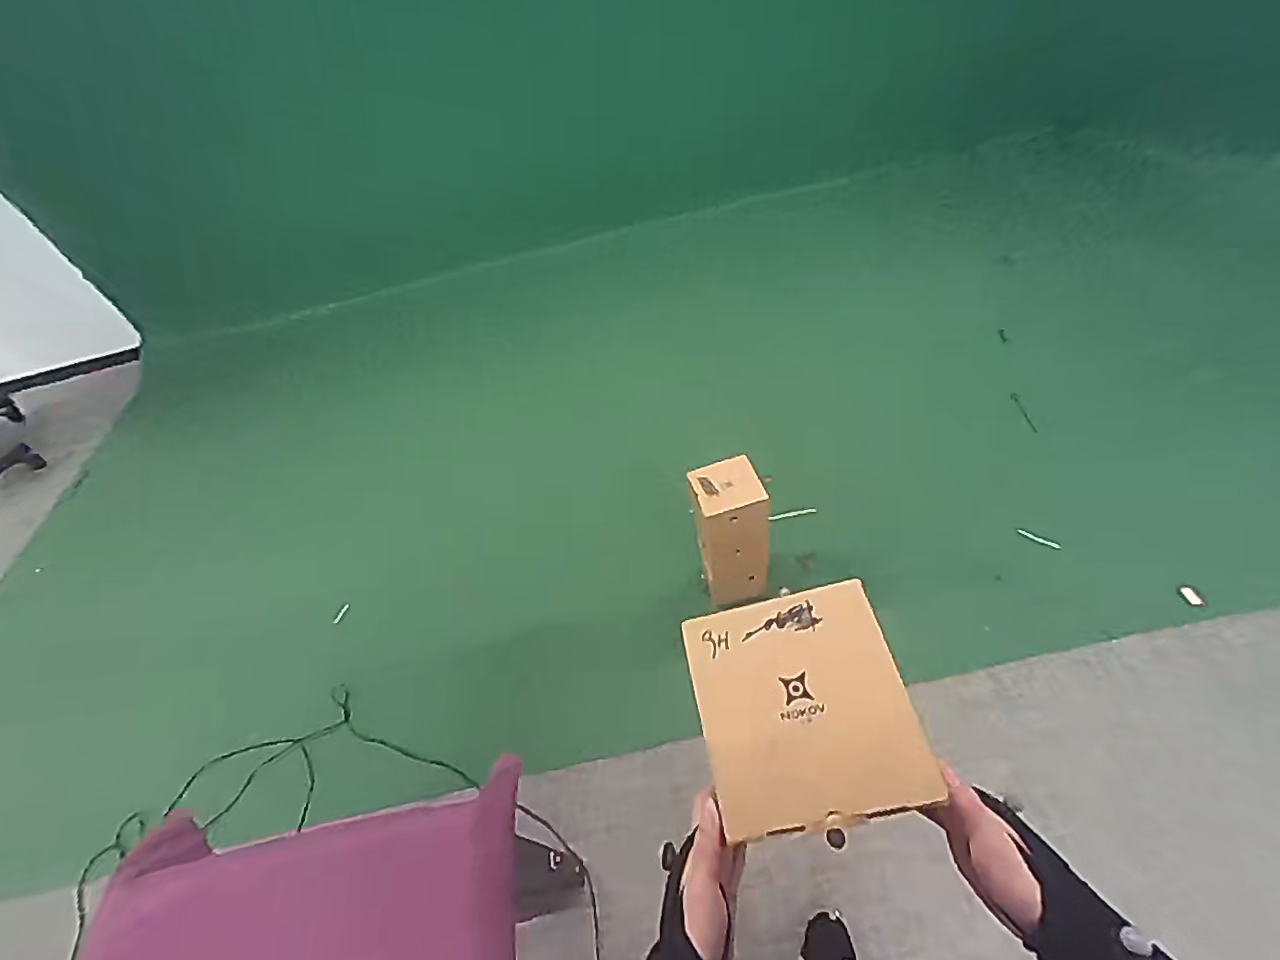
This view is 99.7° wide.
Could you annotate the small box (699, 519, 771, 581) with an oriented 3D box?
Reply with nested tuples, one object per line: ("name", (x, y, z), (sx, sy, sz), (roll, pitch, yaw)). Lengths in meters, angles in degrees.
("small box", (0.284, 0.176, 1.623), (0.179, 0.176, 0.168), (-17, 49, 1))

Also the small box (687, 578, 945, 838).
("small box", (0.153, 0.217, 0.507), (0.168, 0.176, 0.179), (-15, 56, 8))

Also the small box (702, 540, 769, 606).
("small box", (0.306, 0.284, 1.743), (0.179, 0.176, 0.168), (-14, 48, 2))

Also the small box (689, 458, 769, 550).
("small box", (0.250, 0.071, 1.502), (0.179, 0.176, 0.168), (-17, 49, -2))
